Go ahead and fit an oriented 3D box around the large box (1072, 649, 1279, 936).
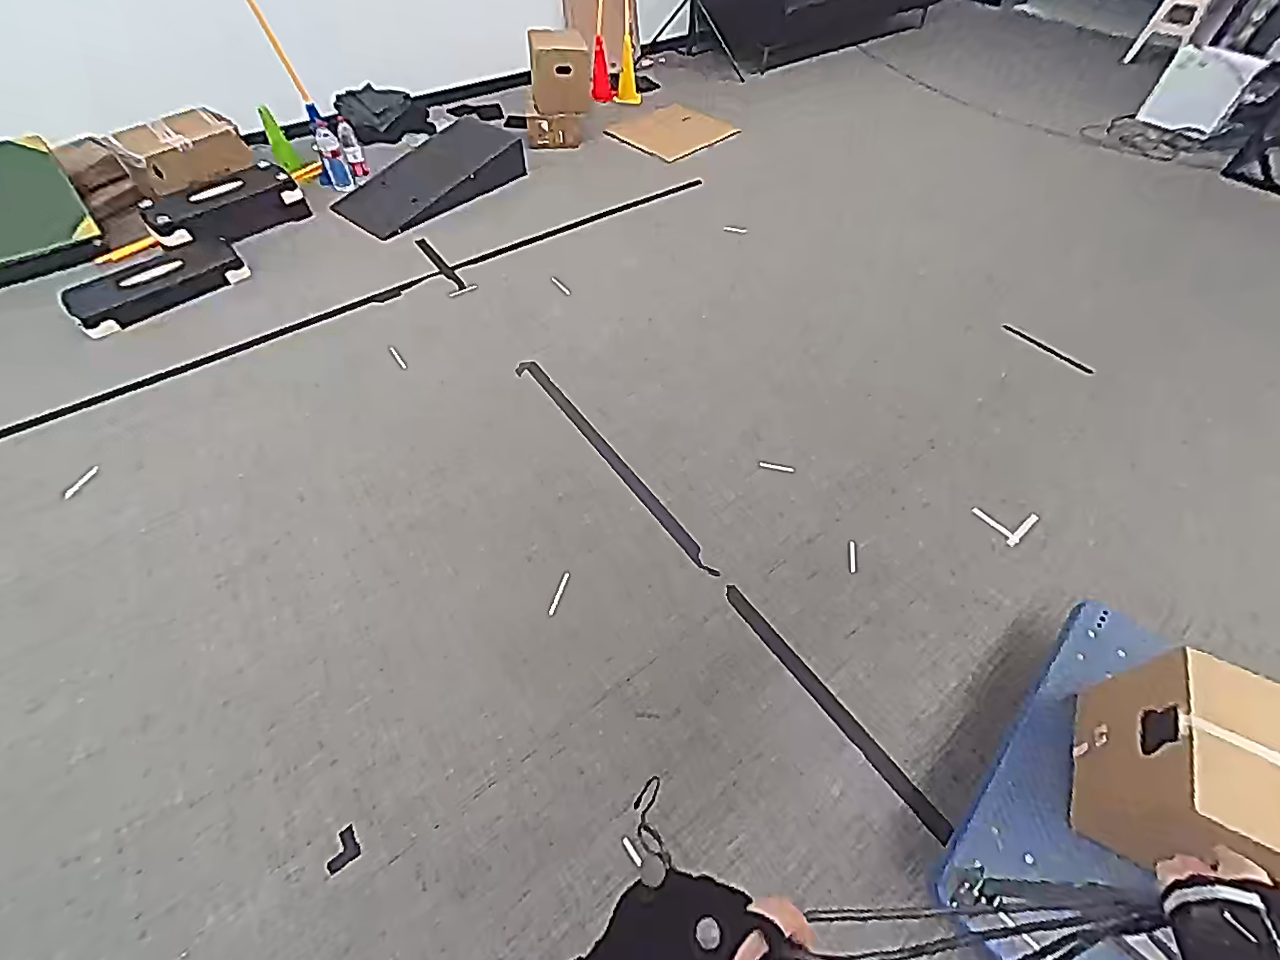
[{"bbox_3d":[1.113,0.585,0.999,0.408,0.320,0.320,25,57,16],"label":"large box"}]
